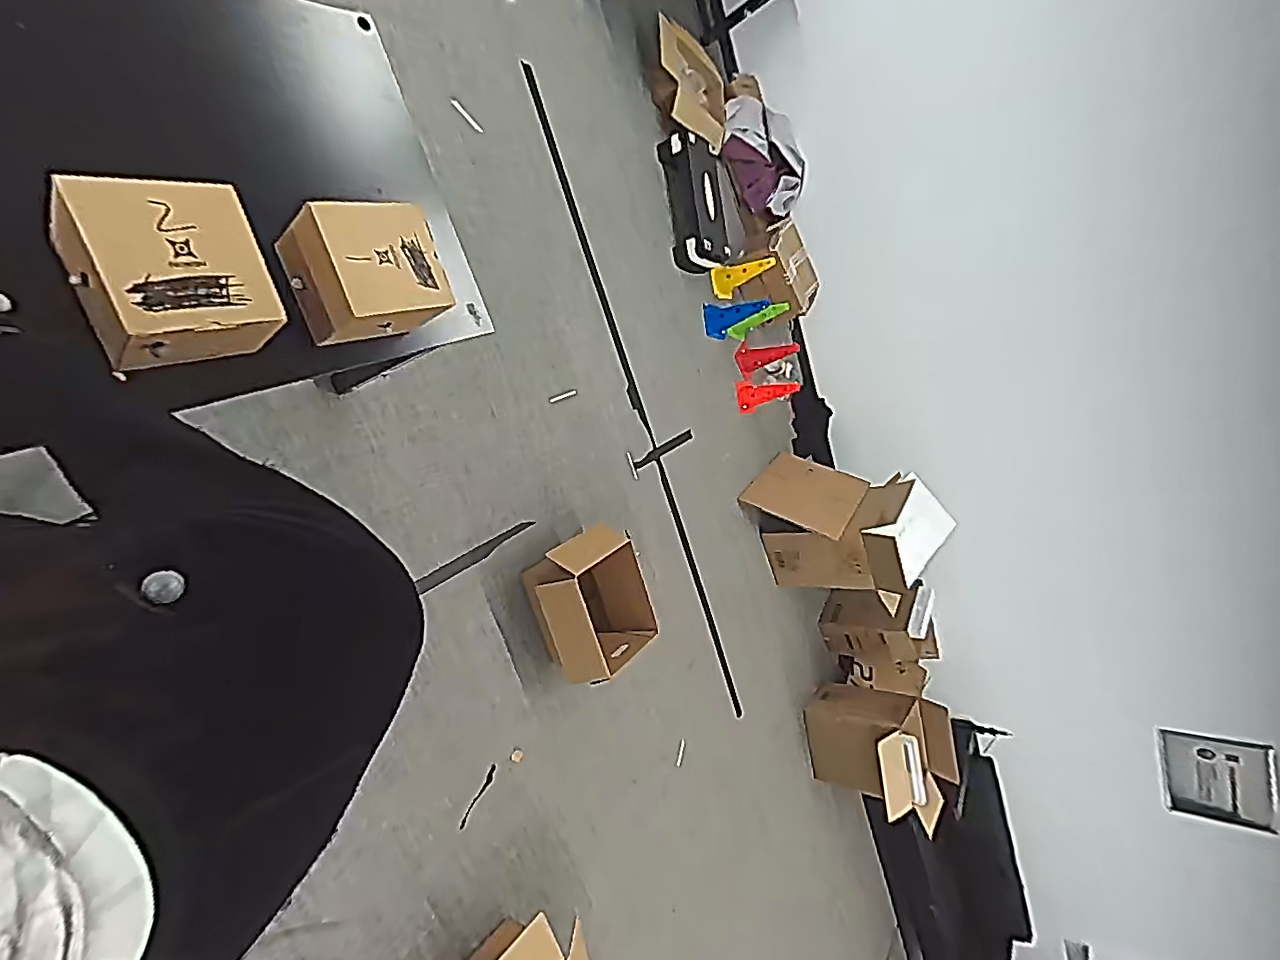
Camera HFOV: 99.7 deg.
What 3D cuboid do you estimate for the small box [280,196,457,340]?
[{"bbox_3d":[-0.437,-0.337,0.872,0.179,0.176,0.168,-30,107,-45],"label":"small box"}]
